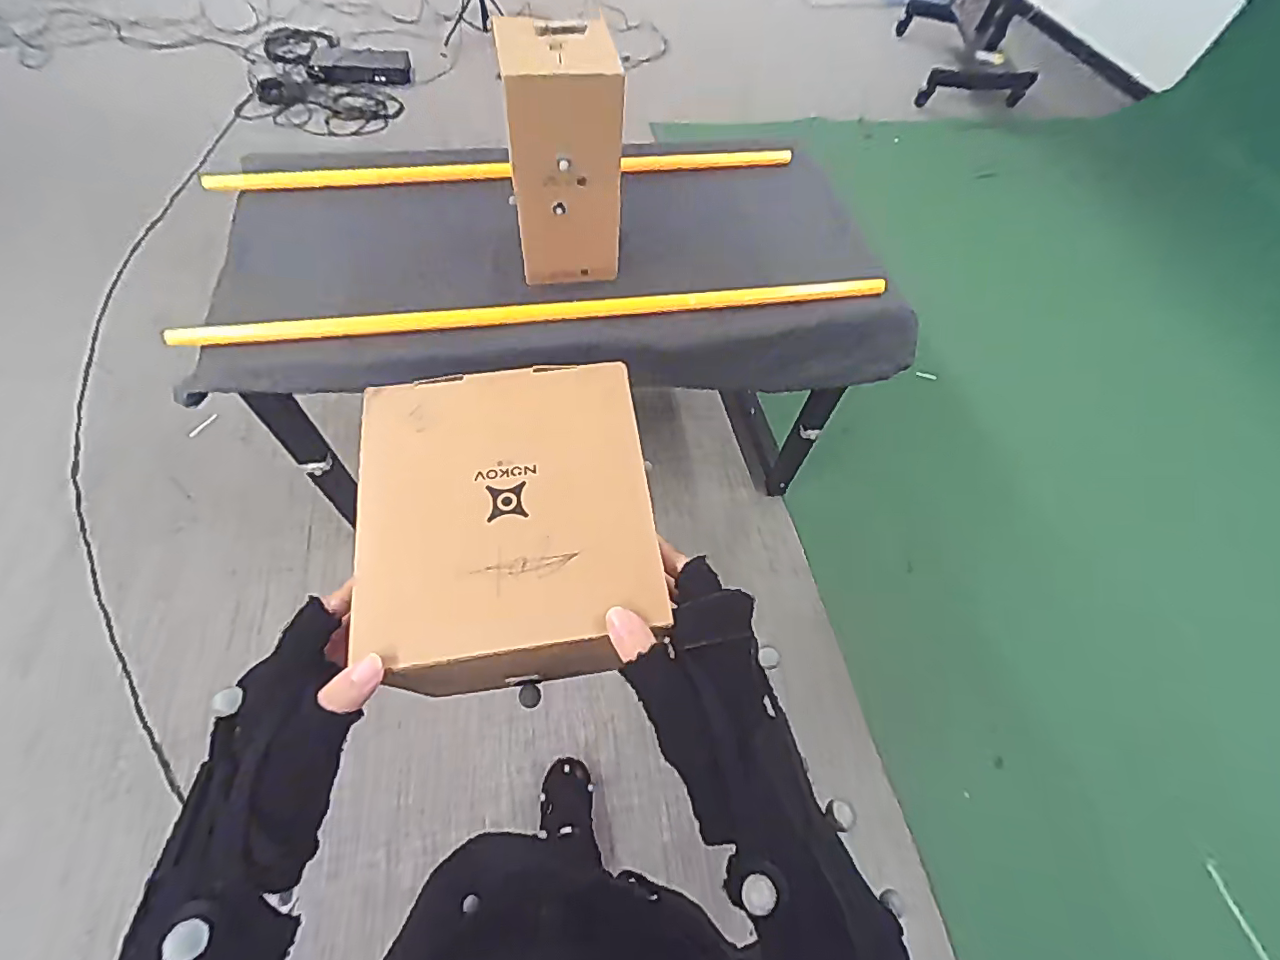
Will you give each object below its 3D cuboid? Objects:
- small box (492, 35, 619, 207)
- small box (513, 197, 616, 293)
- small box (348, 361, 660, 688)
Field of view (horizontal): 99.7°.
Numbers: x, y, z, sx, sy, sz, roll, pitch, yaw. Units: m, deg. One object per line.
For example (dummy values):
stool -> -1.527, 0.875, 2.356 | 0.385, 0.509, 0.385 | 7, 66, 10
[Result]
small box -> -0.131, -0.550, 0.835 | 0.168, 0.176, 0.179 | -8, 59, -10
small box -> -0.140, -0.462, 0.974 | 0.168, 0.176, 0.179 | -8, 58, -9
small box -> -0.086, 0.040, 0.392 | 0.168, 0.176, 0.179 | -8, 65, -6
